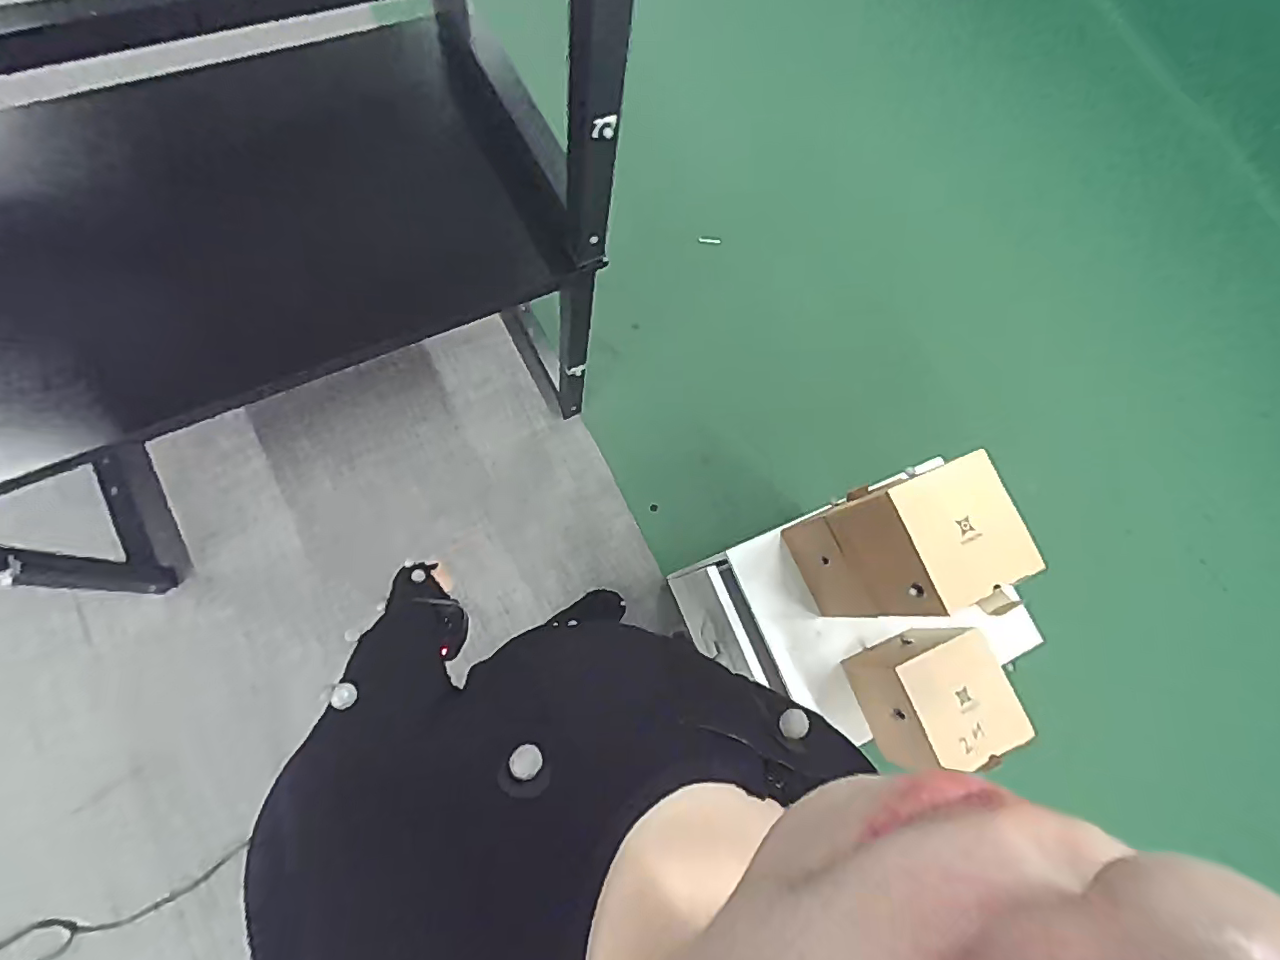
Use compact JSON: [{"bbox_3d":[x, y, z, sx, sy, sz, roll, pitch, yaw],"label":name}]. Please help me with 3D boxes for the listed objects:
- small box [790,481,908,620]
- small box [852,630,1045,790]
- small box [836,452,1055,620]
[{"bbox_3d":[0.385,0.127,0.914,0.168,0.176,0.179,-23,80,-13],"label":"small box"},{"bbox_3d":[0.476,0.354,0.864,0.168,0.176,0.179,-19,78,-12],"label":"small box"},{"bbox_3d":[0.410,0.085,0.758,0.168,0.176,0.179,-21,81,-14],"label":"small box"}]
